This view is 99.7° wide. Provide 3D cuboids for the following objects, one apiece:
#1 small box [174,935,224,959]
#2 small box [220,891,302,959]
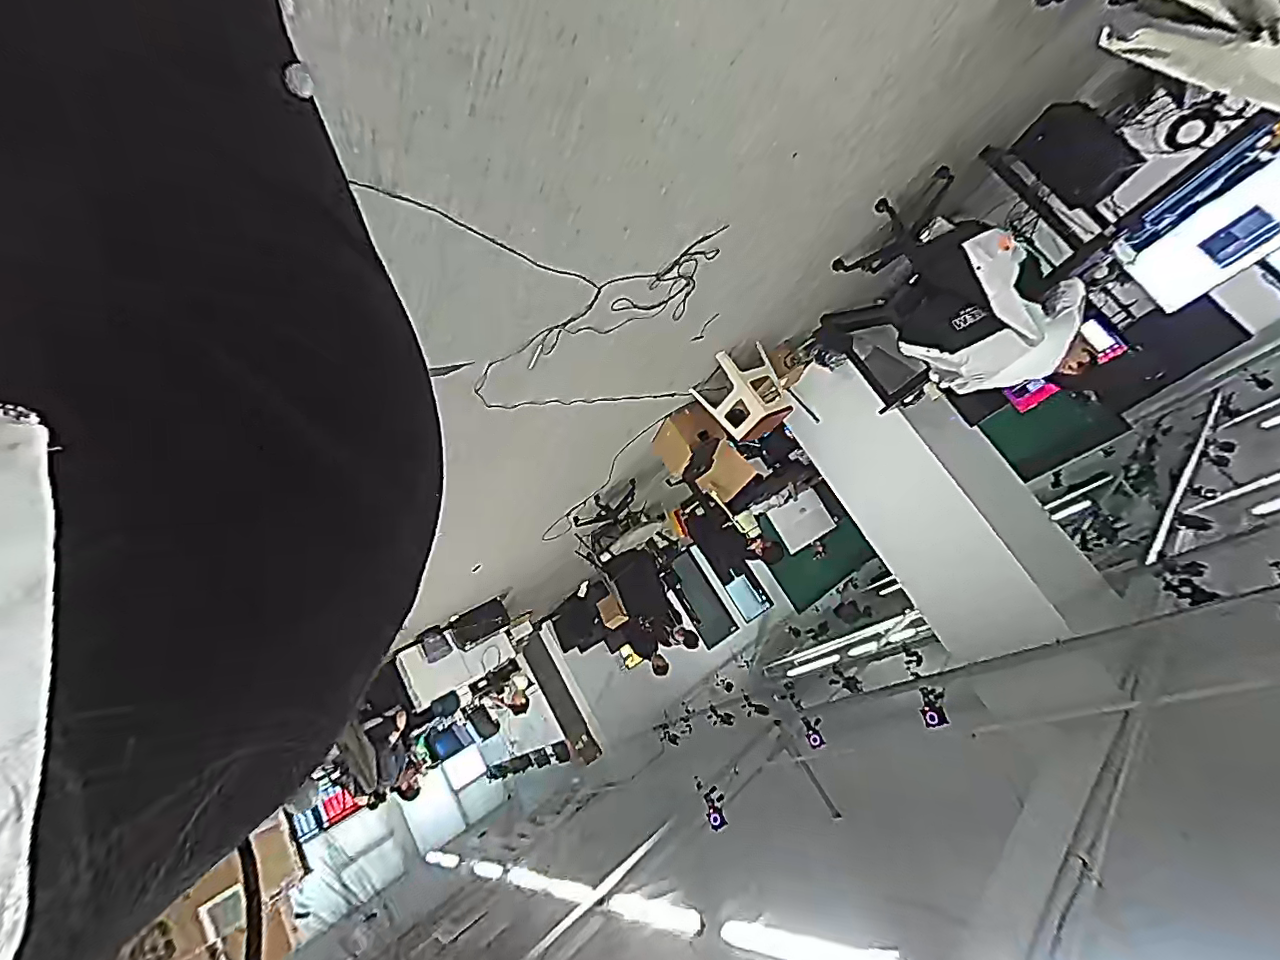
[{"bbox_3d":[-1.394,1.554,1.660,0.168,0.176,0.179,-18,161,-34],"label":"small box"},{"bbox_3d":[-1.246,1.503,1.784,0.168,0.176,0.179,-22,165,-30],"label":"small box"}]
